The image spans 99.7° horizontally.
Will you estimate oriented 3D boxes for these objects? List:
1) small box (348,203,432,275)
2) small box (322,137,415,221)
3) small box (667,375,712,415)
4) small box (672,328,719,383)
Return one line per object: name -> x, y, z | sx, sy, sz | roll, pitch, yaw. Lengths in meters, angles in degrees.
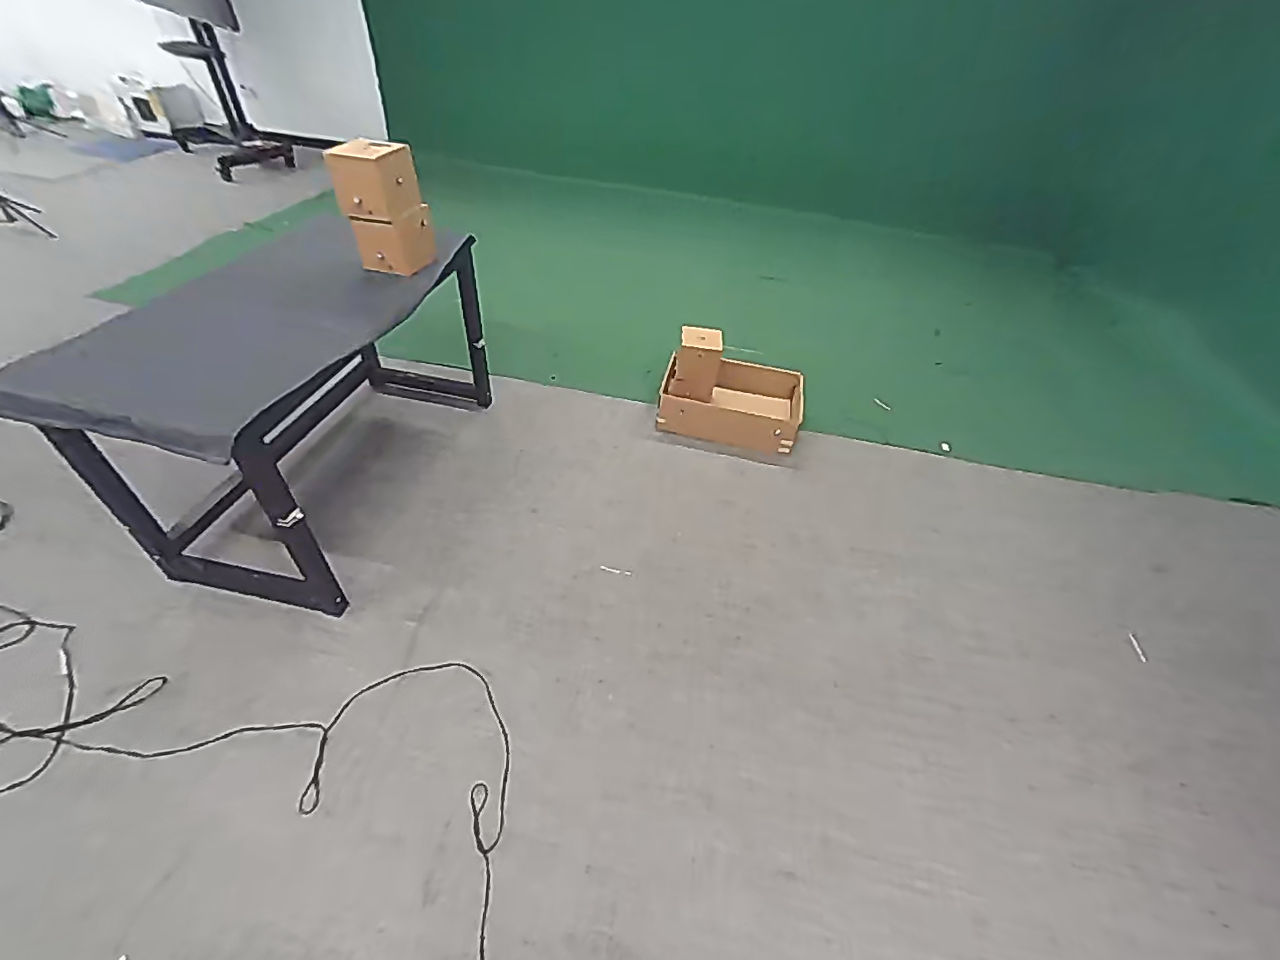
small box -> -0.782, -0.776, 1.715 | 0.168, 0.176, 0.179 | 13, 45, 9
small box -> -0.786, -0.887, 1.593 | 0.168, 0.176, 0.179 | 13, 45, 8
small box -> 0.228, -0.420, 2.470 | 0.179, 0.176, 0.168 | 13, 45, 6
small box -> 0.239, -0.538, 2.356 | 0.179, 0.176, 0.168 | 8, 45, -3
